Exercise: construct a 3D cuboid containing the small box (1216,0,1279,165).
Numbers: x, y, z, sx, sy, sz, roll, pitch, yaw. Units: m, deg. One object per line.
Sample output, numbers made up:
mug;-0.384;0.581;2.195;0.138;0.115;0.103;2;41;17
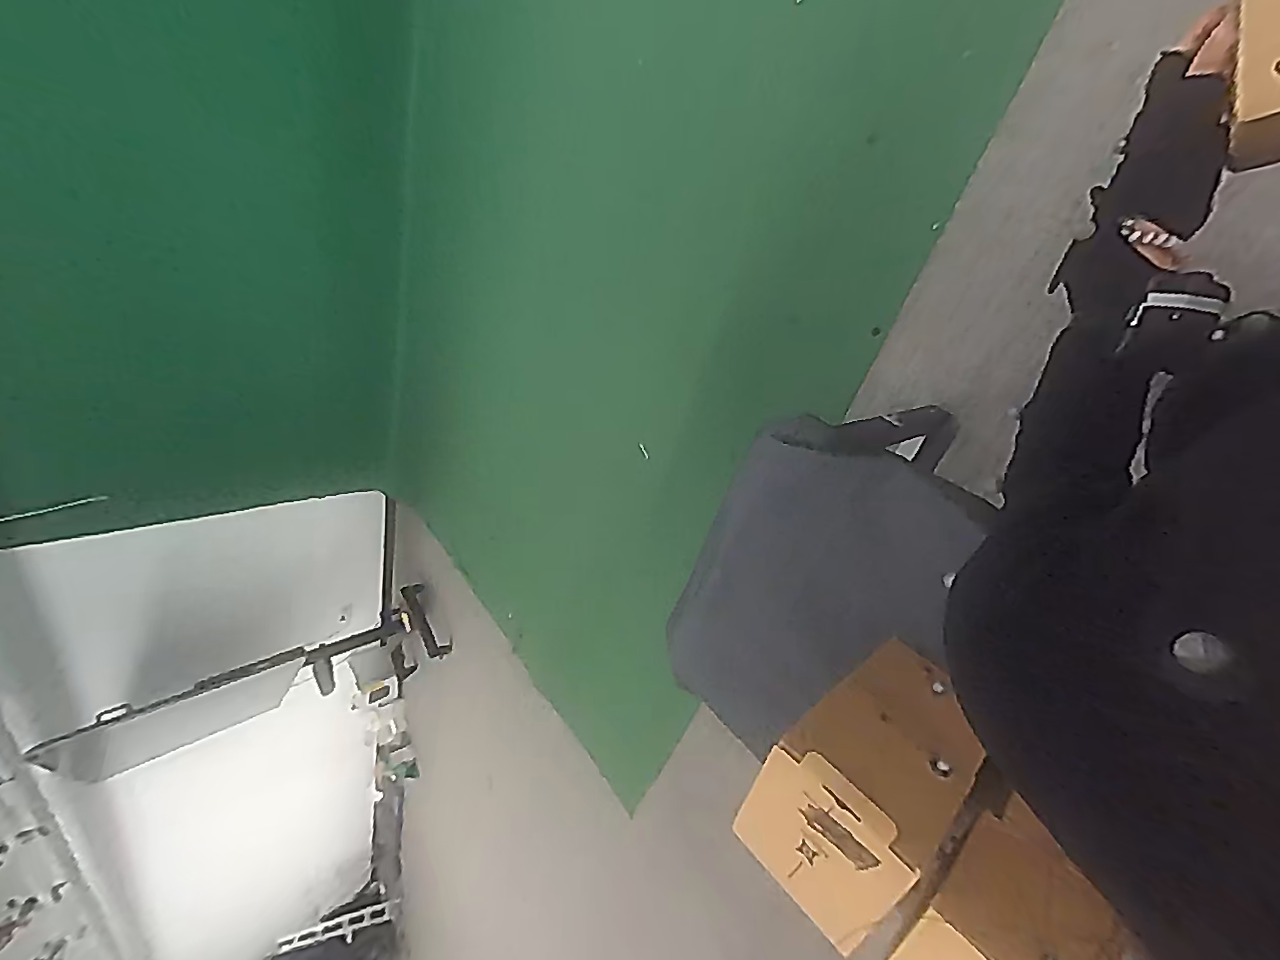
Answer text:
small box;0.452;-0.303;0.296;0.179;0.176;0.168;2;103;45
